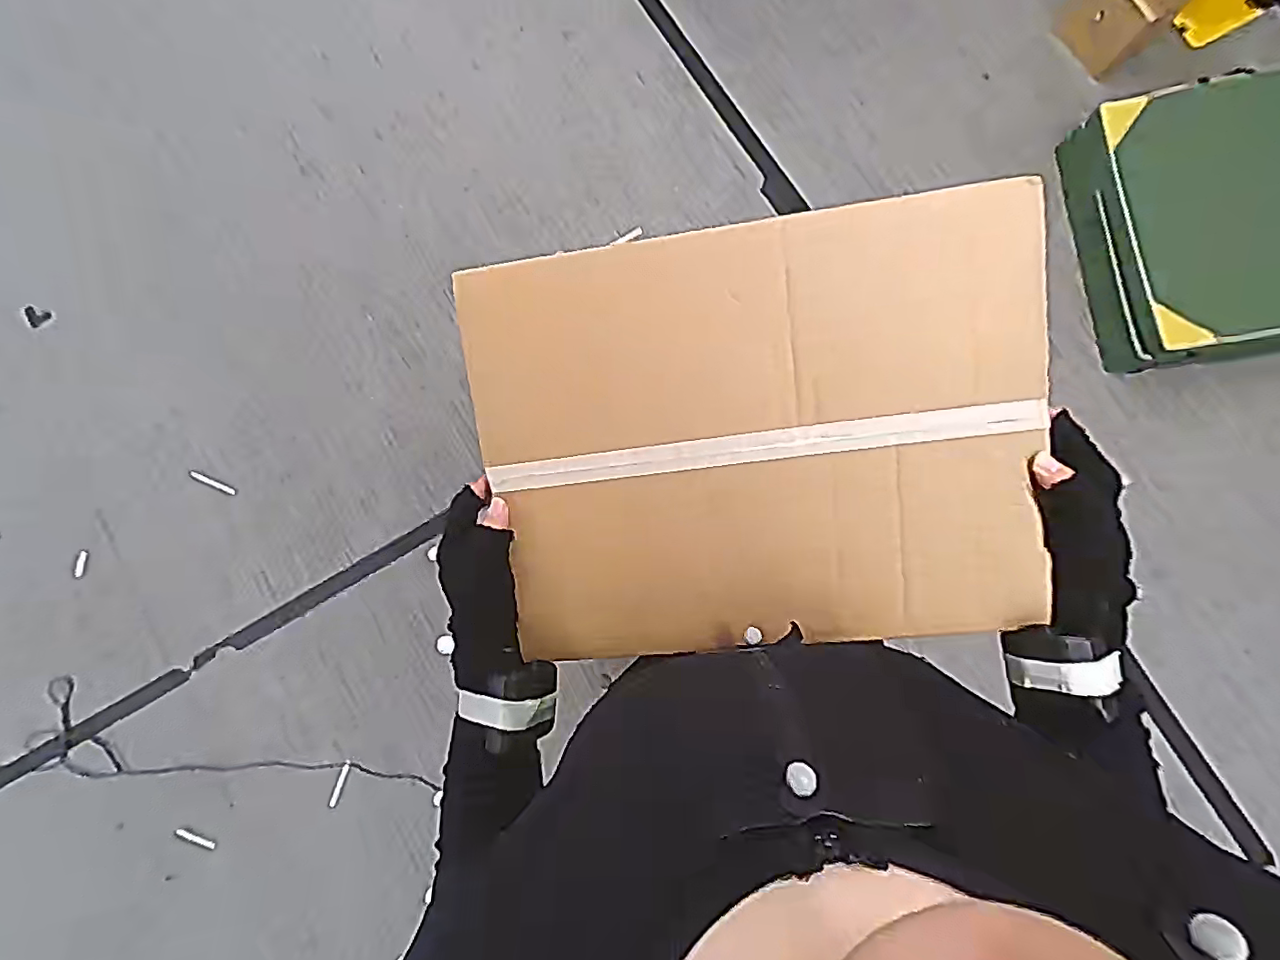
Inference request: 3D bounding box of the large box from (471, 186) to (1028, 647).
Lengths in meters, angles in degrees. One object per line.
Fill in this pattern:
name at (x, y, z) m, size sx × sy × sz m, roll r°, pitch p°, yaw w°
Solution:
large box at (0.096, -0.053, 0.561) m, size 0.408 × 0.320 × 0.320 m, roll -6°, pitch 100°, yaw 7°
